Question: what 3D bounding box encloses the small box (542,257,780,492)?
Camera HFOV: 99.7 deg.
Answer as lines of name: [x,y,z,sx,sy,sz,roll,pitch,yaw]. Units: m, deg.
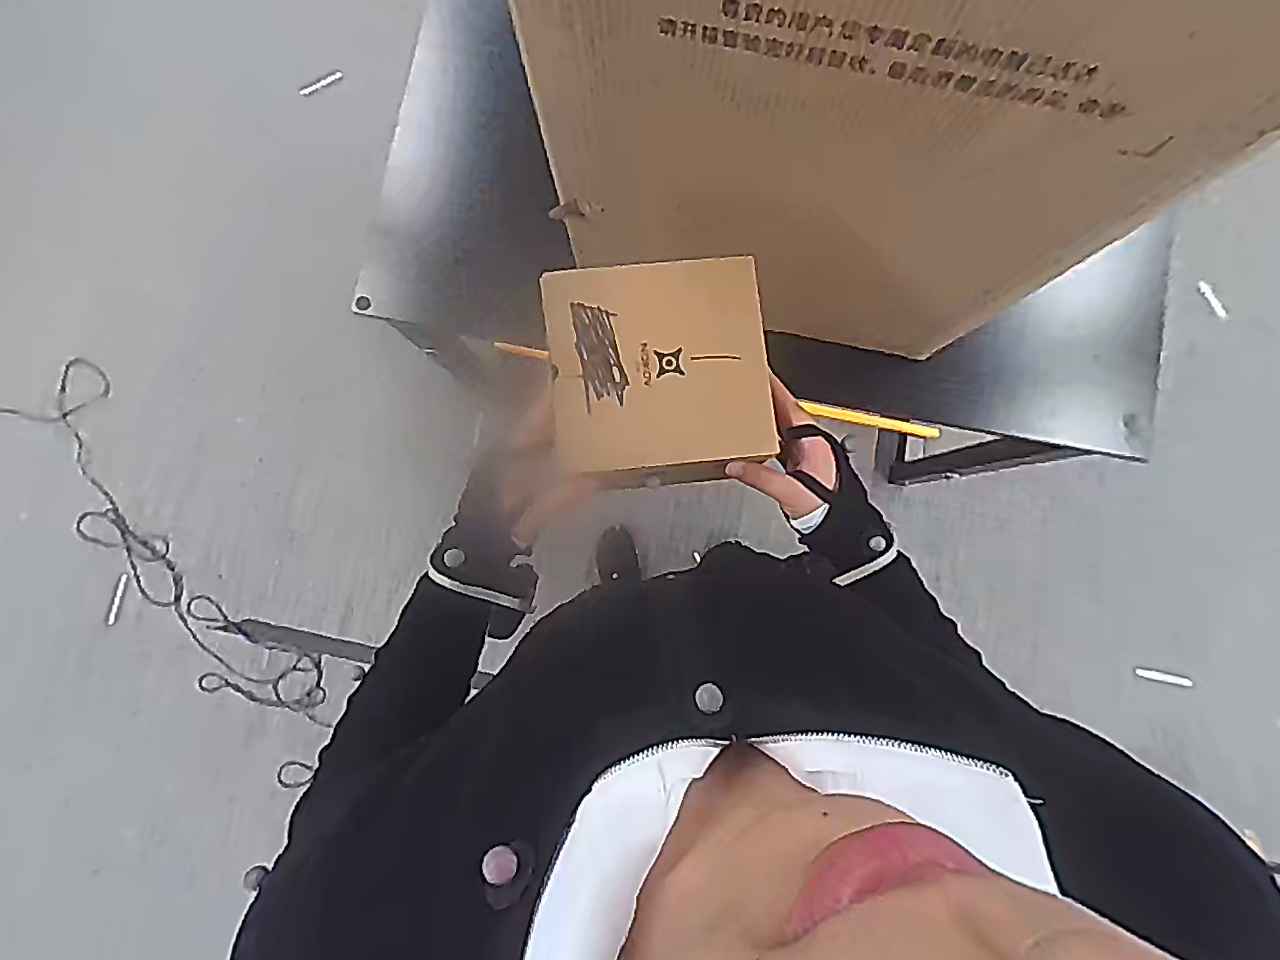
small box: [0.015,-0.082,0.502,0.179,0.176,0.168,-6,84,-1]
